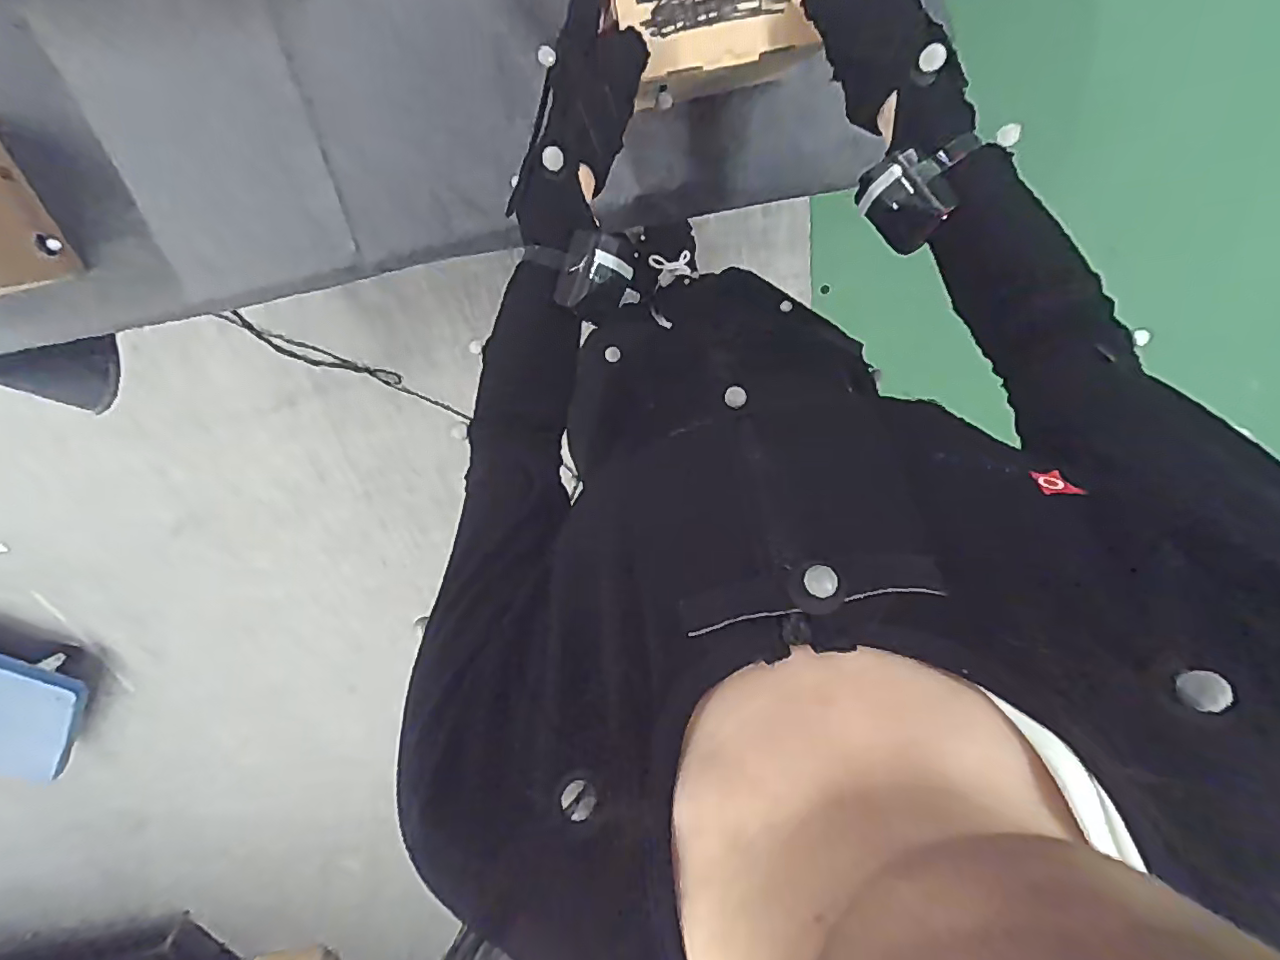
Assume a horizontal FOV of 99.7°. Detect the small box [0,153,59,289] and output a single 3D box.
[{"bbox_3d":[-0.738,-0.258,0.518,0.179,0.176,0.168,-11,119,4],"label":"small box"}]
